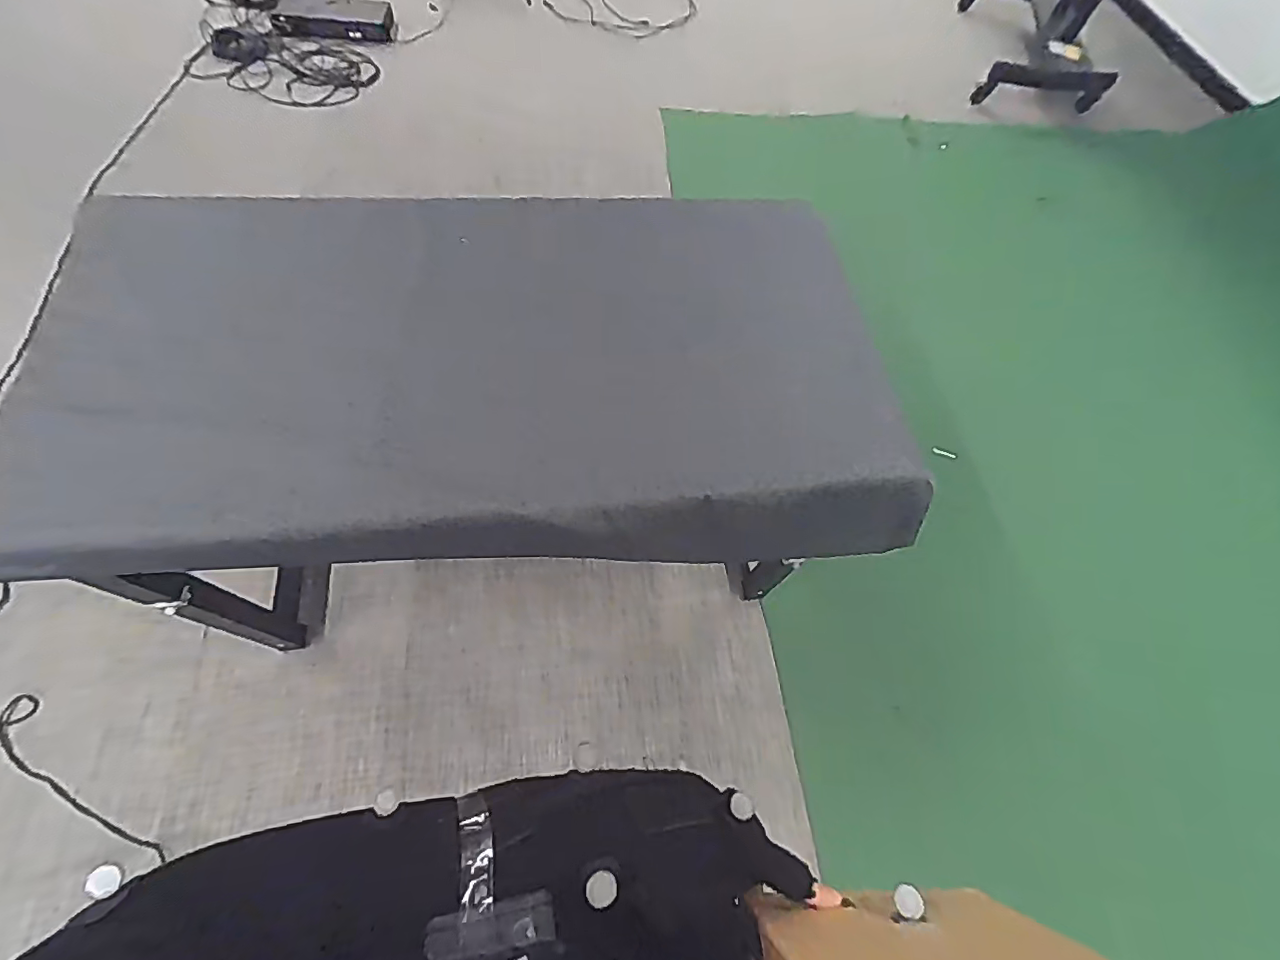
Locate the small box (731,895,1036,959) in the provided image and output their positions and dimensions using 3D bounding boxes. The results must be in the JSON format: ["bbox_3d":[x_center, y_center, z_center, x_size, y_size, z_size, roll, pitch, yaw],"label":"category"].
[{"bbox_3d":[0.144,0.334,0.258,0.168,0.176,0.179,4,68,-5],"label":"small box"}]
